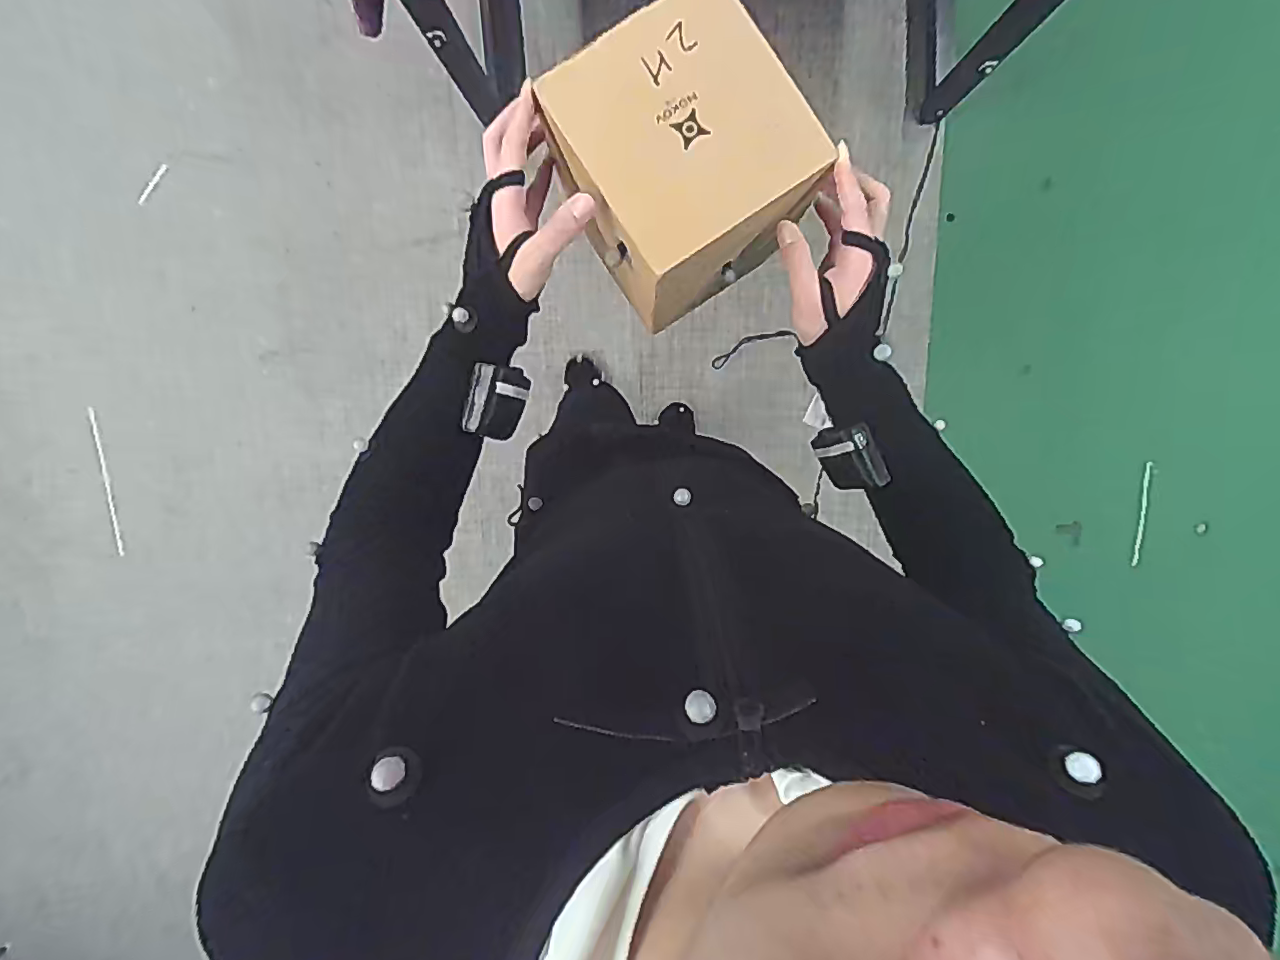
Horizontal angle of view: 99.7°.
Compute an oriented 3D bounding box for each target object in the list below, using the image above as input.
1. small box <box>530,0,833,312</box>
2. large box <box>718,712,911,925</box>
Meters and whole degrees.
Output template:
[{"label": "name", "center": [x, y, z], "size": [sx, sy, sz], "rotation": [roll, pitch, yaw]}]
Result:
[{"label": "small box", "center": [0.031, -0.271, 0.476], "size": [0.168, 0.176, 0.179], "rotation": [-32, 90, -1]}, {"label": "large box", "center": [0.496, 0.990, 1.621], "size": [0.408, 0.320, 0.320], "rotation": [-34, 97, 6]}]
